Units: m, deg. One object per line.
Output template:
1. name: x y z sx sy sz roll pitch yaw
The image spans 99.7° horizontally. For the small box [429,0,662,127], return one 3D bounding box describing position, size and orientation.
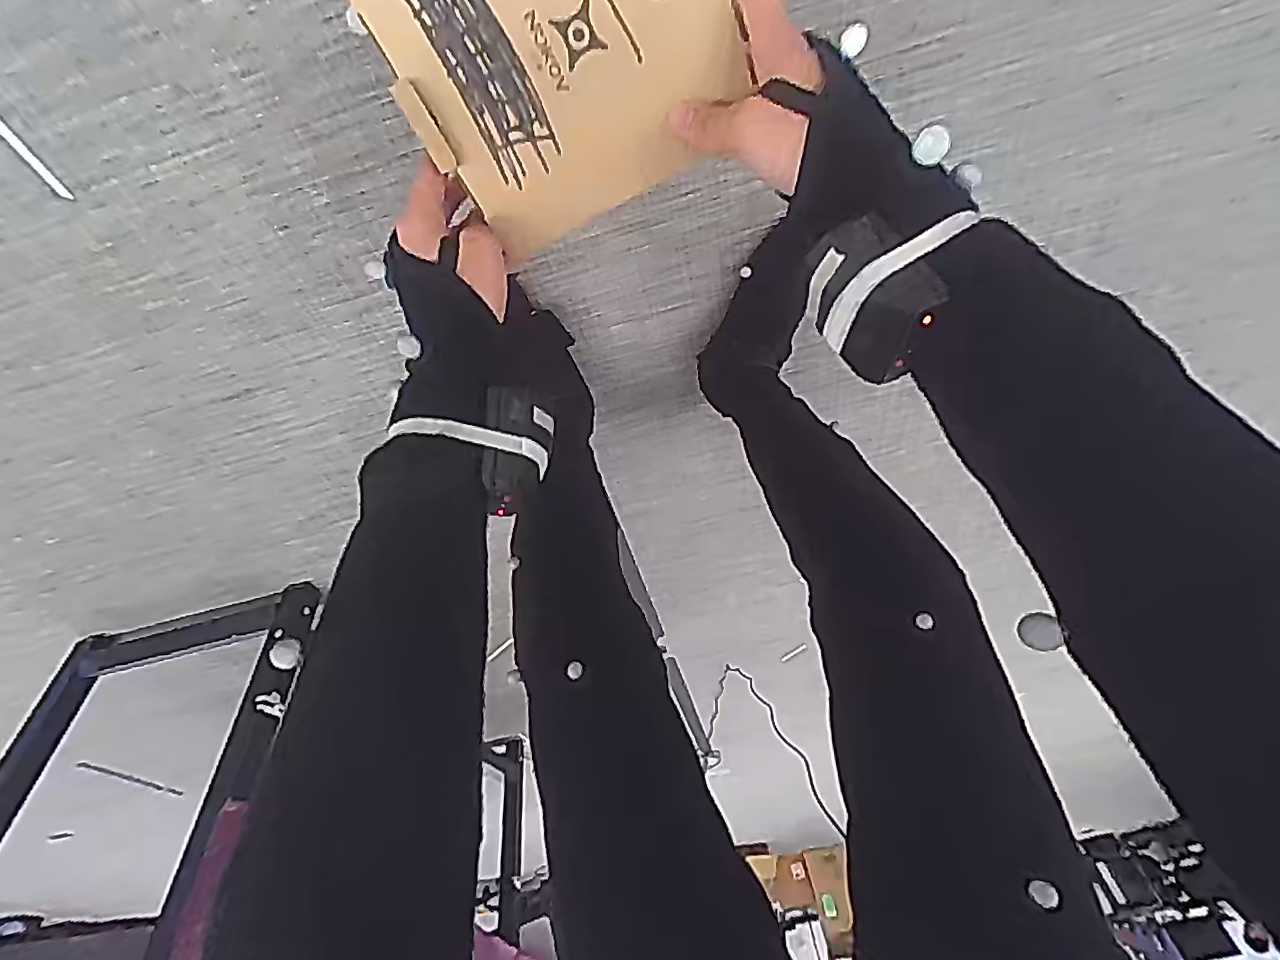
1. small box: -0.090 -0.440 0.451 0.168 0.176 0.179 -17 136 8
